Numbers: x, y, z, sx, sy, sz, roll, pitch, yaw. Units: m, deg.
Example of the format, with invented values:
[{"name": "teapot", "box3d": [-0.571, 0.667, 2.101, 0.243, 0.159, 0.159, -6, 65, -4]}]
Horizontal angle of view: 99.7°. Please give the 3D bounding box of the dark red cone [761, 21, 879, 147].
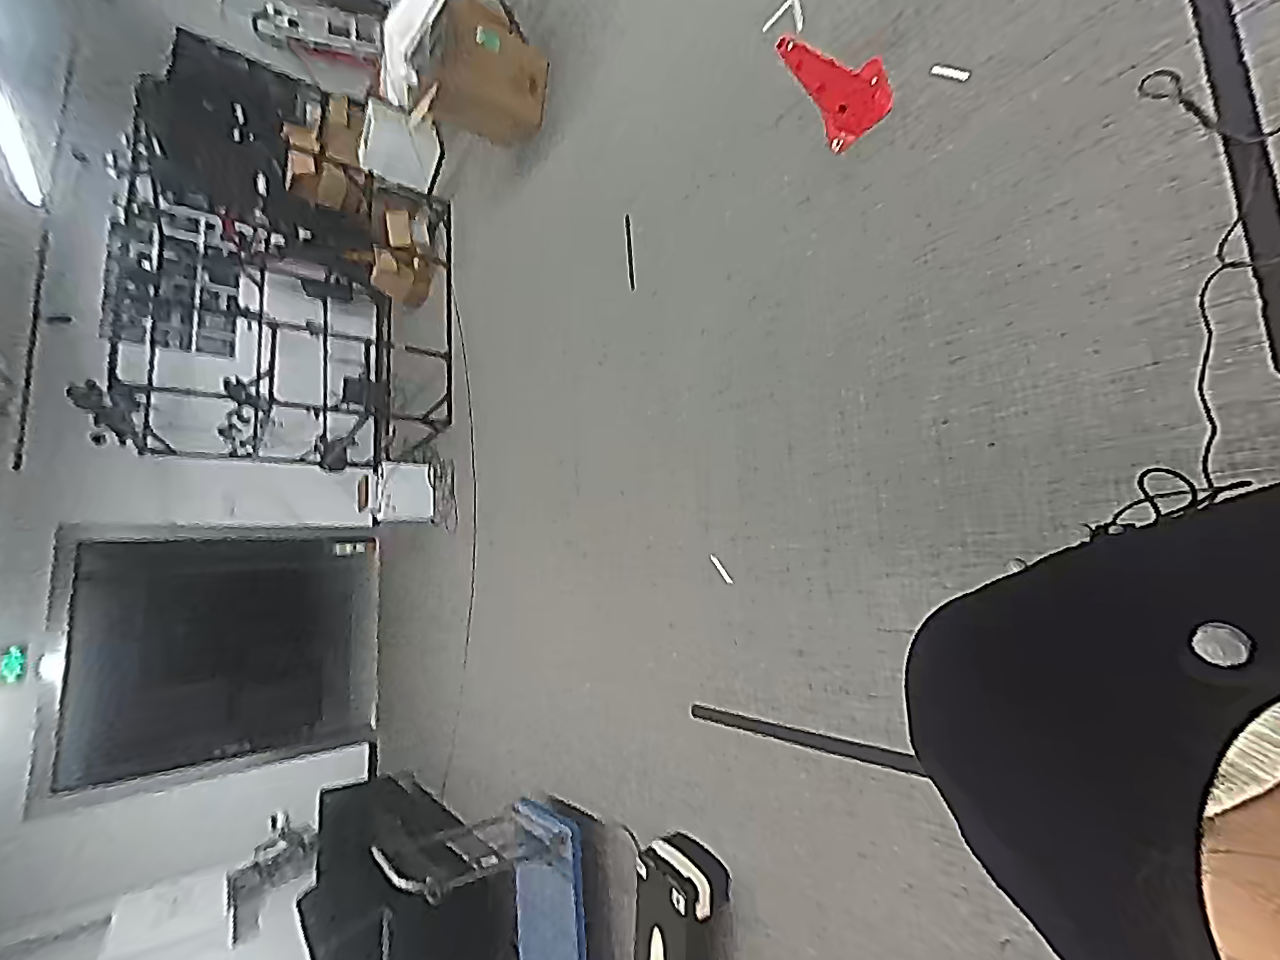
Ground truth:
[{"name": "dark red cone", "box3d": [0.472, -1.131, 1.494, 0.201, 0.394, 0.202, -25, 67, 48]}]
